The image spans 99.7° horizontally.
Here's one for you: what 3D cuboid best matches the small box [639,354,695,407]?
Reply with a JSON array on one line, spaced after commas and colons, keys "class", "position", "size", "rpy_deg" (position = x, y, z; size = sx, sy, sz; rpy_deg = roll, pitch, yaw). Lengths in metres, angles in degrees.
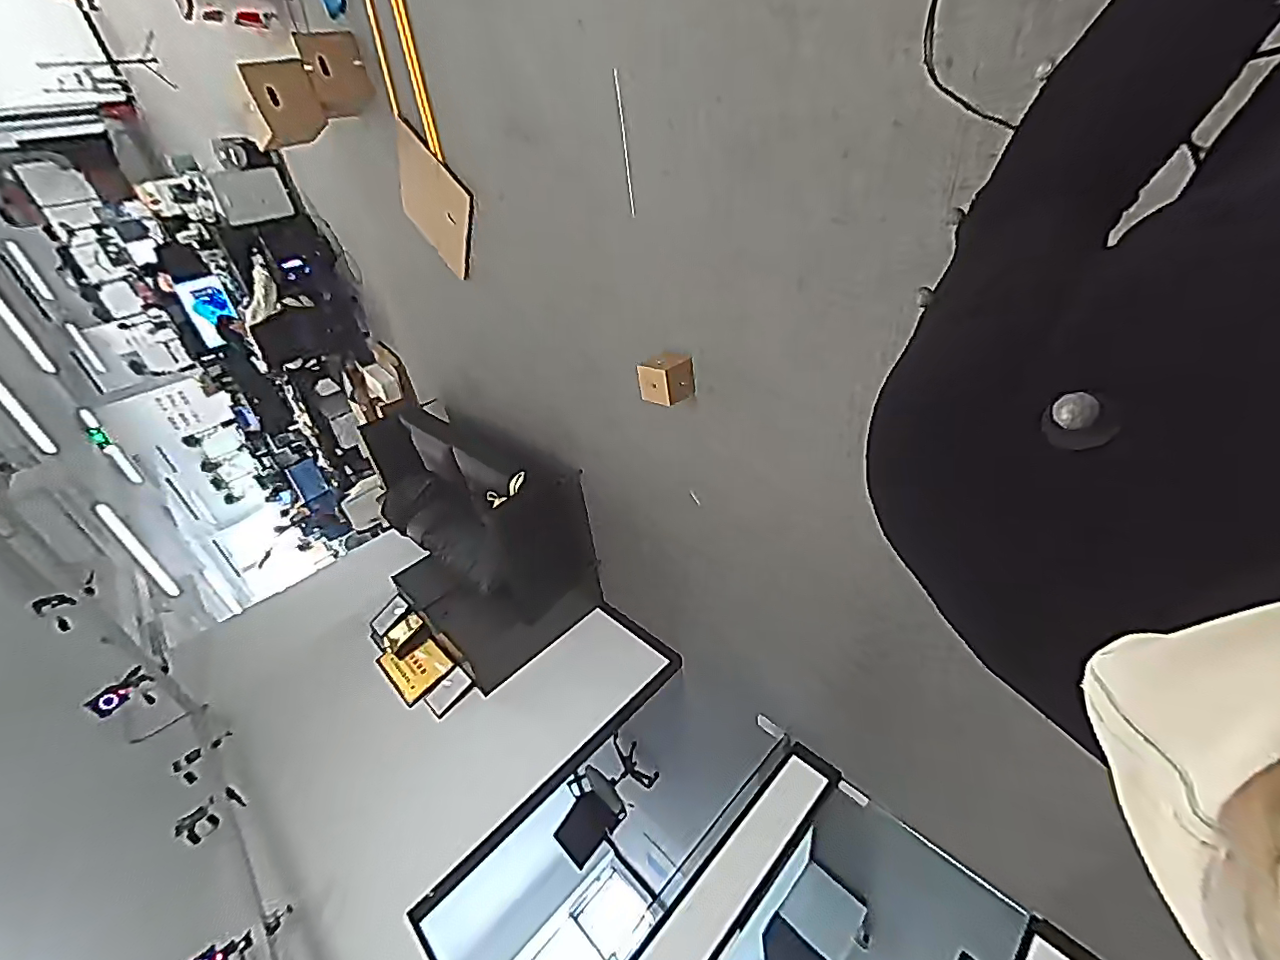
[{"class": "small box", "position": [0.125, -0.437, 2.356], "size": [0.179, 0.176, 0.168], "rpy_deg": [23, 134, 42]}]
